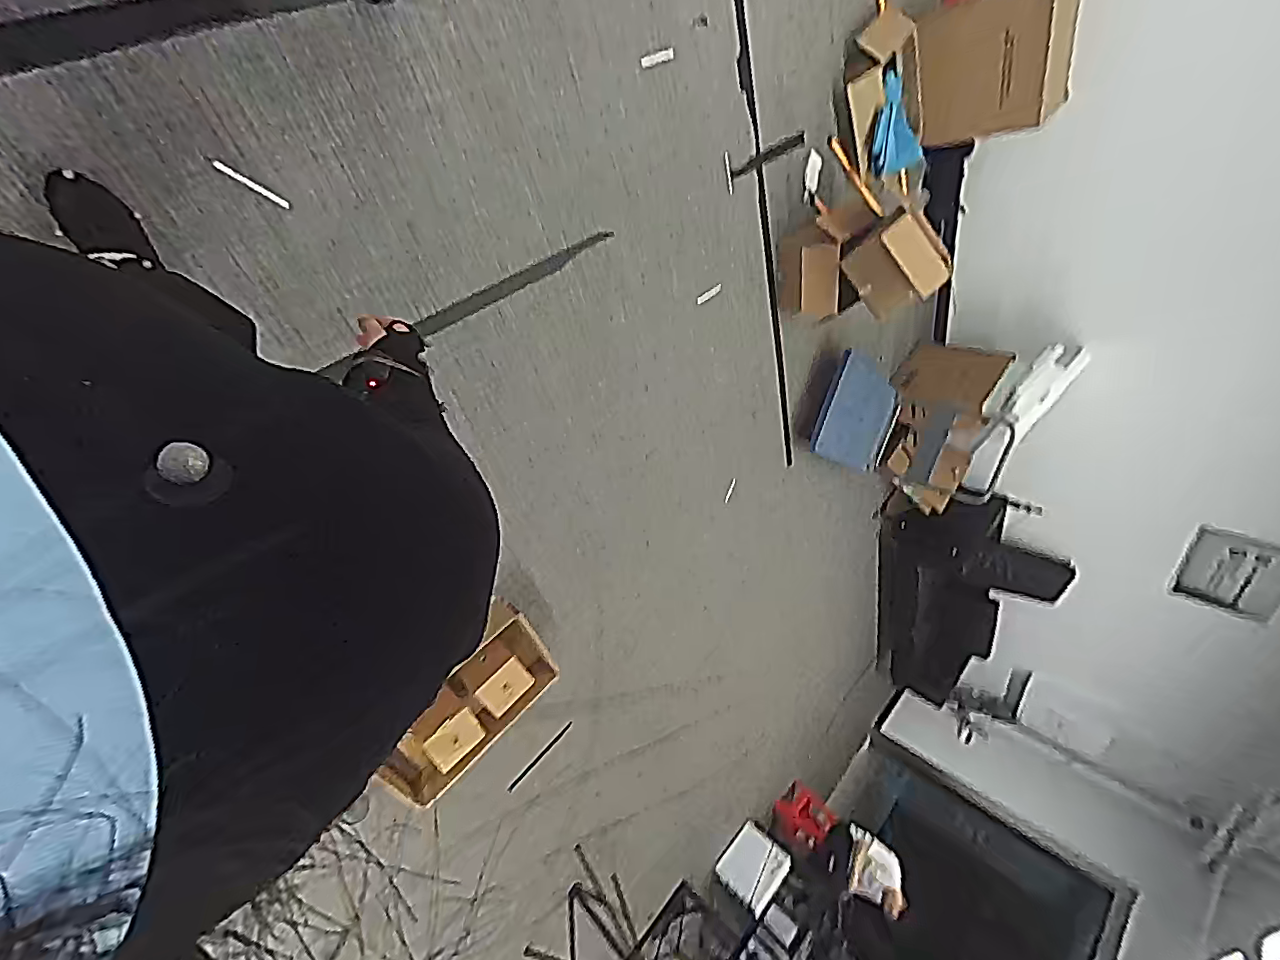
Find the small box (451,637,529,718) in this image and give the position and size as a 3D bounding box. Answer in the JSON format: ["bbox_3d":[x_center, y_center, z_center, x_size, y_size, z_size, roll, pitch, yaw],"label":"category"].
[{"bbox_3d":[-0.520,0.670,1.862,0.168,0.176,0.179,-41,133,-23],"label":"small box"}]

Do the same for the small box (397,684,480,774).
[{"bbox_3d":[-0.663,0.813,1.781,0.168,0.176,0.179,-37,131,-30],"label":"small box"}]
